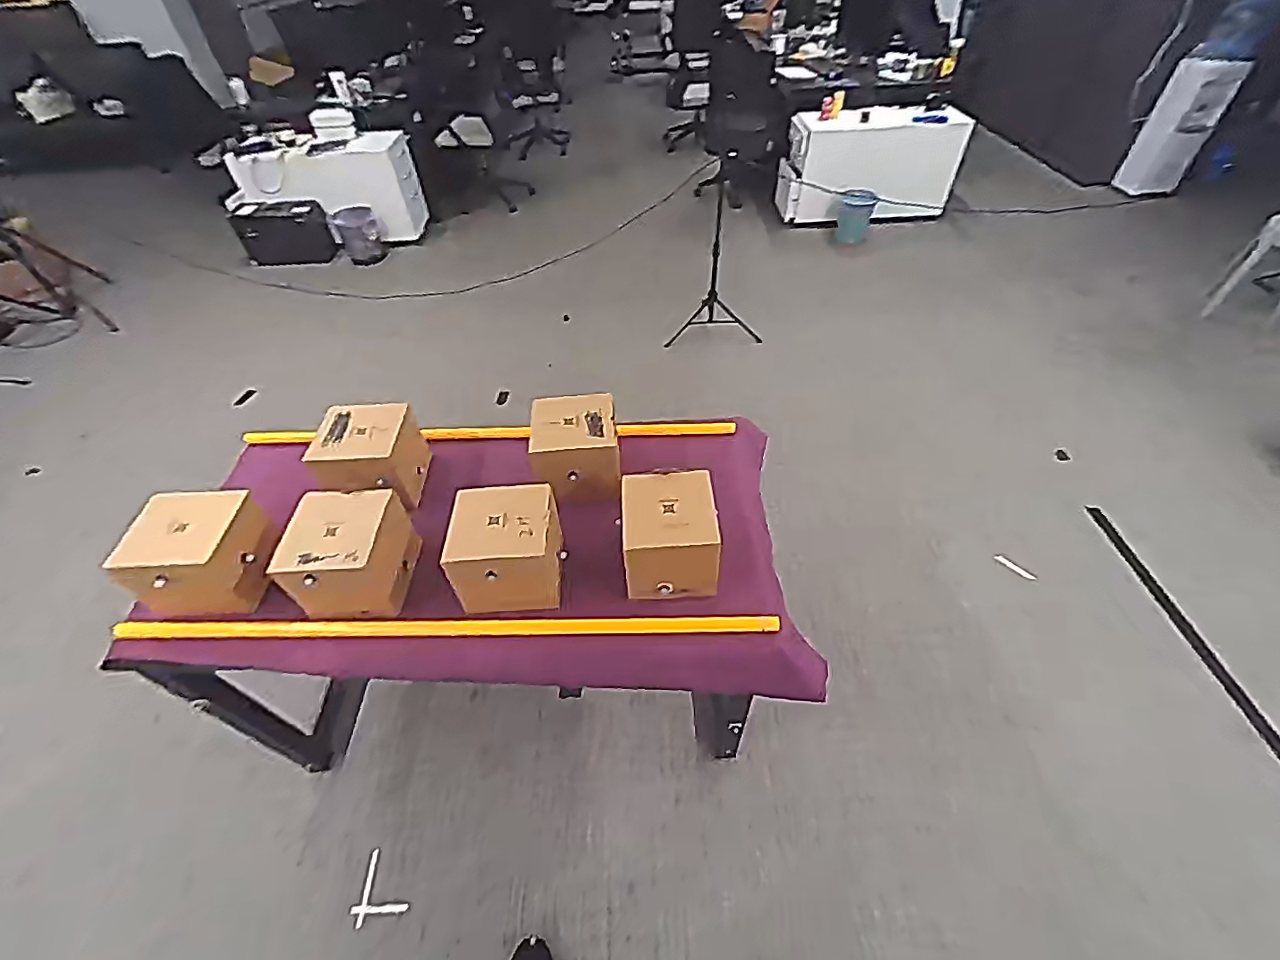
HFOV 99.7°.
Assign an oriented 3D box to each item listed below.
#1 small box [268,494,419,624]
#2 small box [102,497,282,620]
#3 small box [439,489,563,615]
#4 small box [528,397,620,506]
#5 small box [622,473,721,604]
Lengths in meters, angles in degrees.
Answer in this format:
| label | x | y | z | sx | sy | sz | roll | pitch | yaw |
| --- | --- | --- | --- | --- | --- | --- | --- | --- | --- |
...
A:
| label | x | y | z | sx | sy | sz | roll | pitch | yaw |
| --- | --- | --- | --- | --- | --- | --- | --- | --- | --- |
| small box | -0.529 | 0.147 | 1.000 | 0.168 | 0.176 | 0.179 | -3 | 47 | 1 |
| small box | -0.809 | 0.149 | 1.011 | 0.179 | 0.176 | 0.168 | -3 | 47 | 0 |
| small box | -0.243 | 0.136 | 0.995 | 0.179 | 0.176 | 0.168 | -3 | 46 | -1 |
| small box | -0.135 | -0.058 | 1.170 | 0.179 | 0.176 | 0.168 | -5 | 48 | -1 |
| small box | 0.054 | 0.108 | 1.004 | 0.168 | 0.176 | 0.179 | -4 | 45 | 1 |
